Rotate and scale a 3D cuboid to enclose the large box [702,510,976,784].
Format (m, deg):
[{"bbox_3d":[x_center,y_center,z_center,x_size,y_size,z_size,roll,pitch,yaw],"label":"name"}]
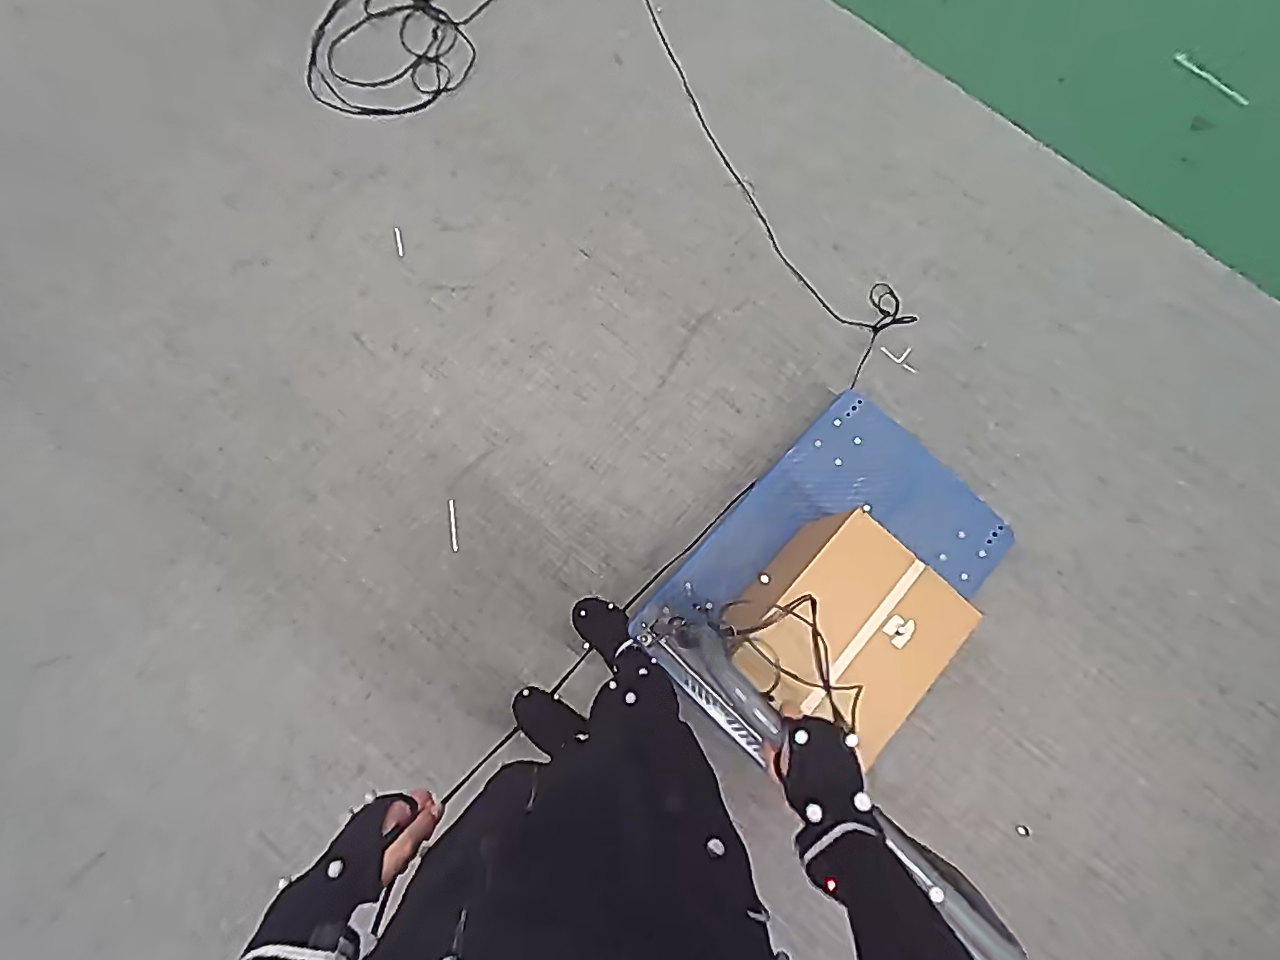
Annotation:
[{"bbox_3d":[0.391,0.332,1.151,0.320,0.320,0.408,43,79,5],"label":"large box"}]
